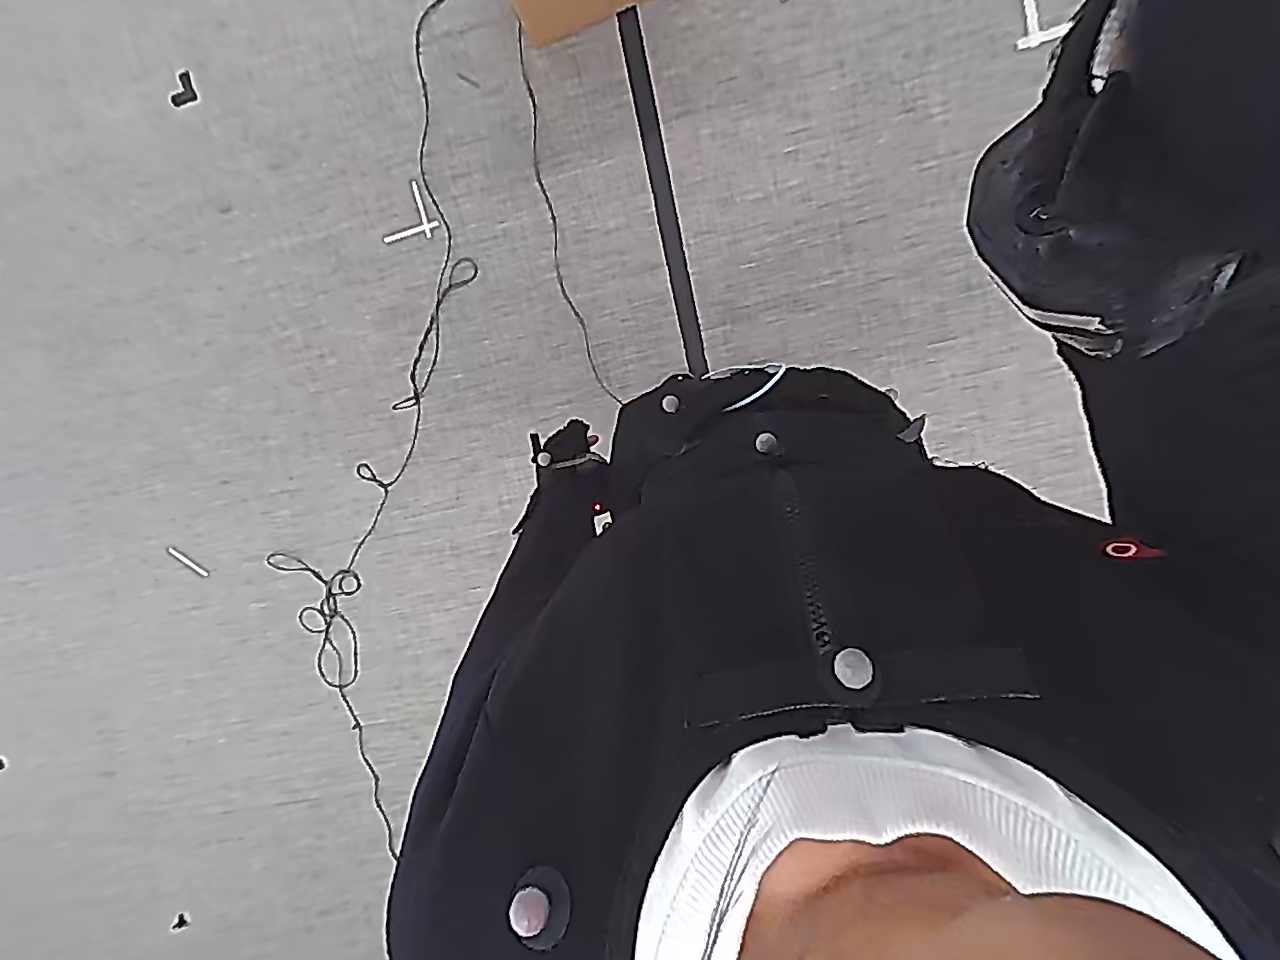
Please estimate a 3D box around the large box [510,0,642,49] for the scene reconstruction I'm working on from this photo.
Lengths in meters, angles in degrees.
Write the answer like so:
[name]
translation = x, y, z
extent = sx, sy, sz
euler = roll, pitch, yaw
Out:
[large box]
translation = -0.132, -1.191, 1.089
extent = 0.408, 0.320, 0.320
euler = -19, 100, 7
